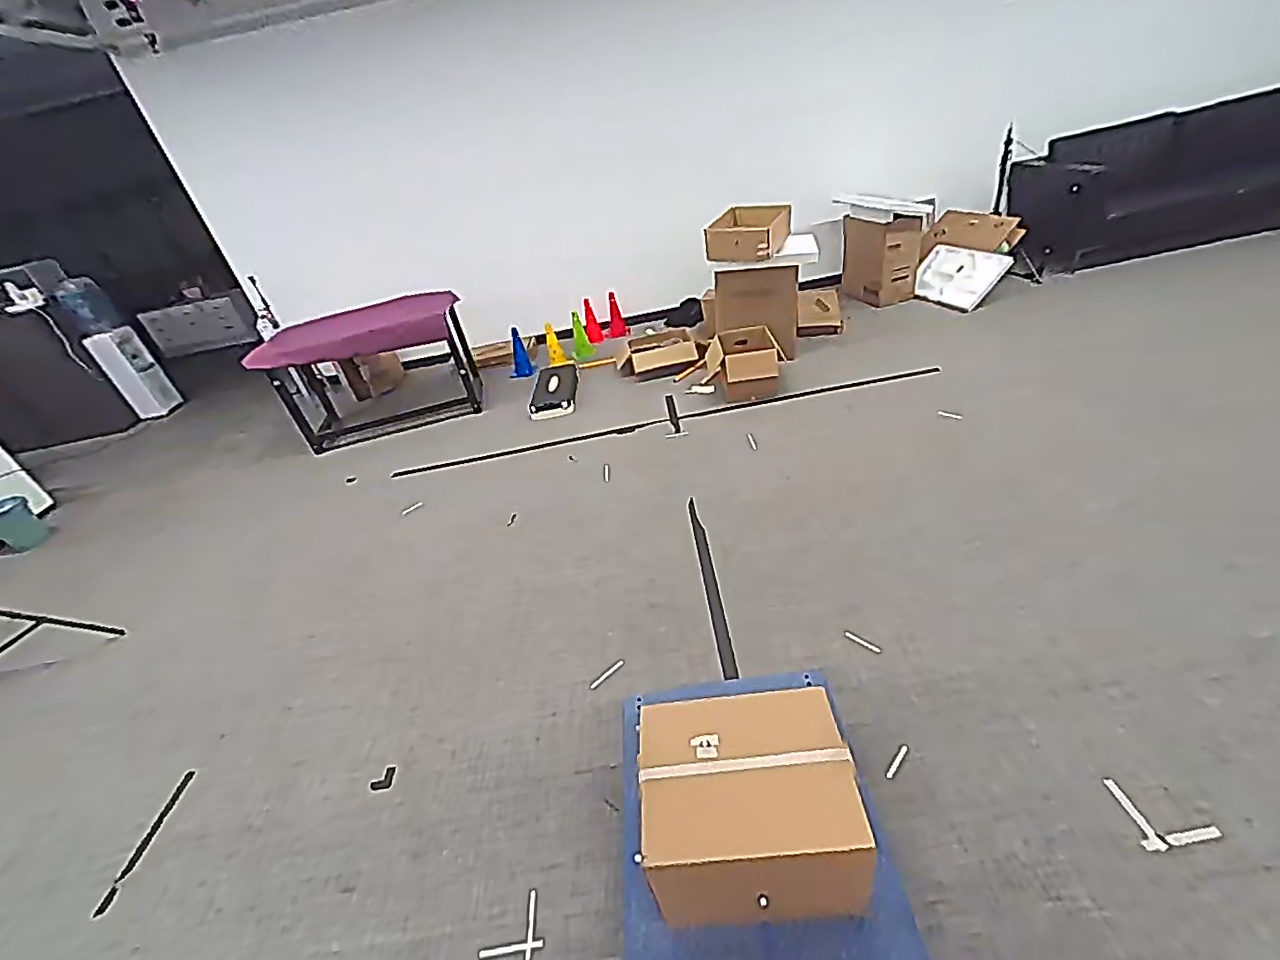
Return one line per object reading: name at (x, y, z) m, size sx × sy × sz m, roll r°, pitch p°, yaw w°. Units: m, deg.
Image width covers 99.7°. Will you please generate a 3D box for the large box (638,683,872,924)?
large box at (0.223, 0.672, 1.127) m, size 0.408 × 0.320 × 0.320 m, roll -10°, pitch 33°, yaw 6°
